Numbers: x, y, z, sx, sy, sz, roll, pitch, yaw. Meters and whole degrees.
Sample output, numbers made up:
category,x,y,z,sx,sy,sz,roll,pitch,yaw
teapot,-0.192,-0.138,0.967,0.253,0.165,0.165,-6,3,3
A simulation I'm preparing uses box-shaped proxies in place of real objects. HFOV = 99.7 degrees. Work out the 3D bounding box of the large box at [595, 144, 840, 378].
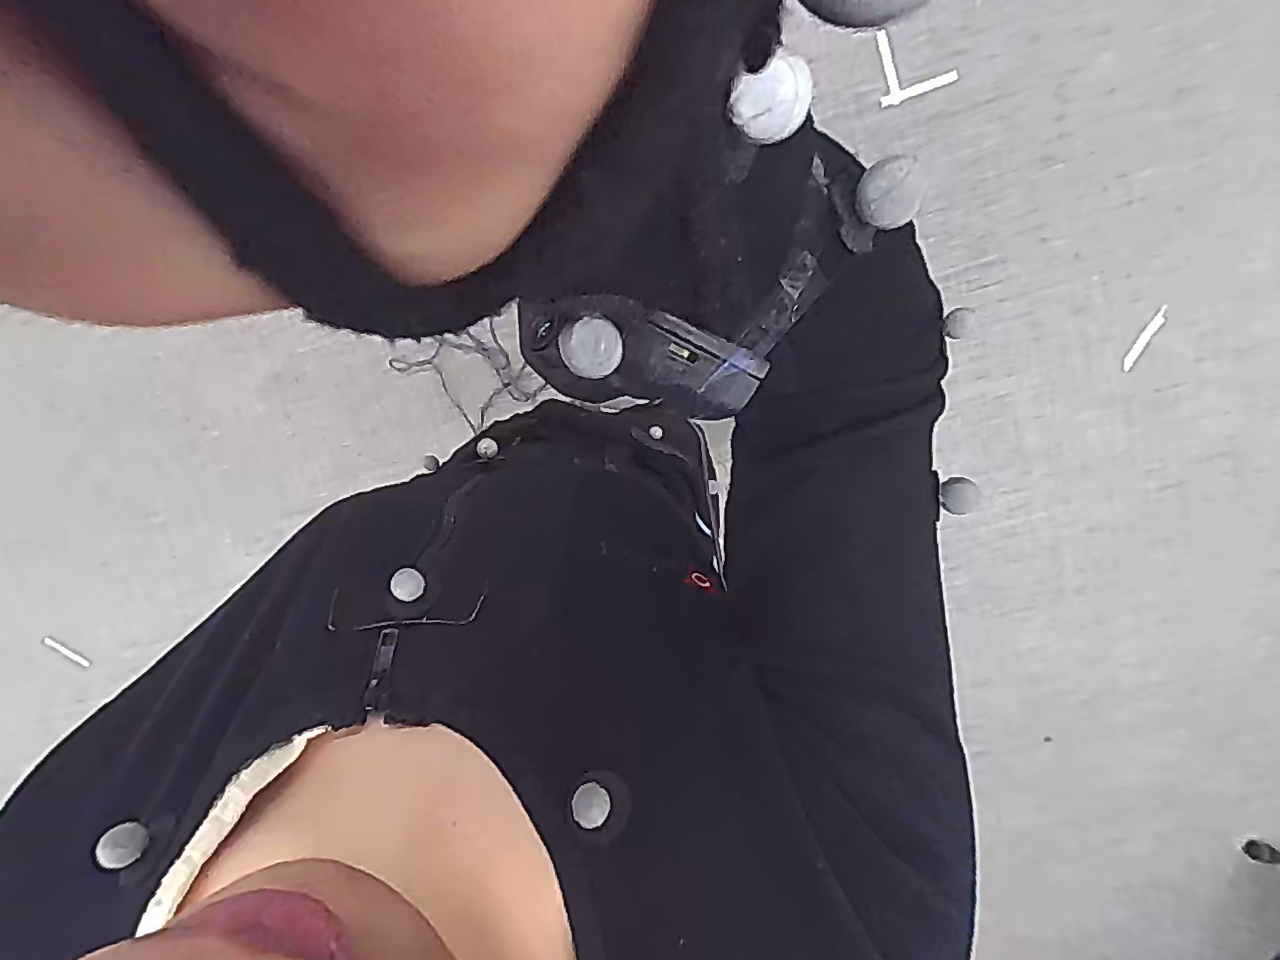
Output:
category,x,y,z,sx,sy,sz,roll,pitch,yaw
large box,0.149,-0.432,1.162,0.408,0.320,0.320,-16,98,3
